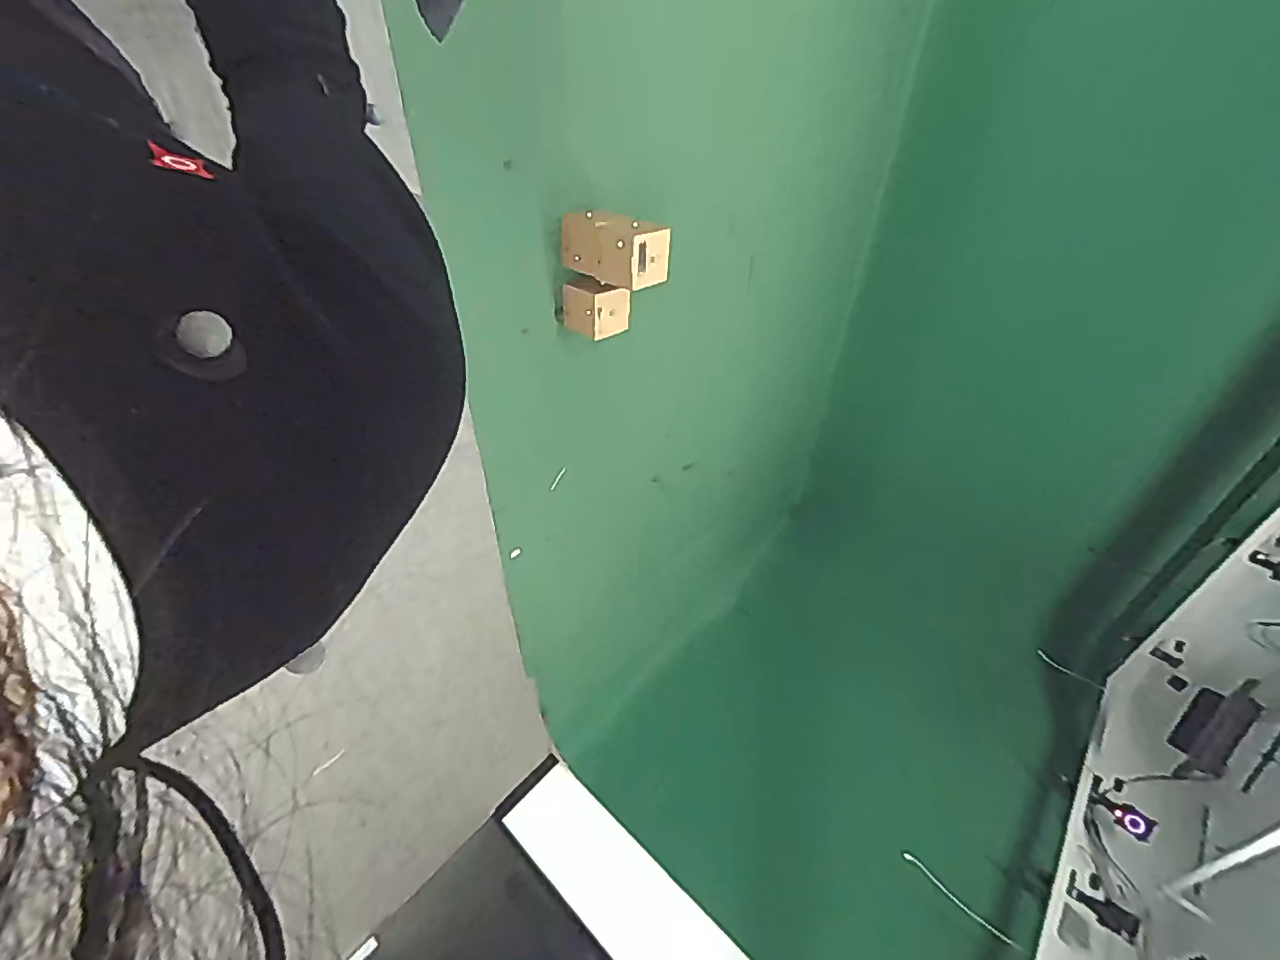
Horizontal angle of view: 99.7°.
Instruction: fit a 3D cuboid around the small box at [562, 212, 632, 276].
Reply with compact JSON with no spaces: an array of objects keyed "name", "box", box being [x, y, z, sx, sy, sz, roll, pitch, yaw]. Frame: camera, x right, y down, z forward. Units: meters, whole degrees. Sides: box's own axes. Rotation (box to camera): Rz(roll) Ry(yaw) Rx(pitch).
[{"name":"small box","box":[-0.150,-0.804,1.832,0.179,0.176,0.168,-30,137,-39]}]
